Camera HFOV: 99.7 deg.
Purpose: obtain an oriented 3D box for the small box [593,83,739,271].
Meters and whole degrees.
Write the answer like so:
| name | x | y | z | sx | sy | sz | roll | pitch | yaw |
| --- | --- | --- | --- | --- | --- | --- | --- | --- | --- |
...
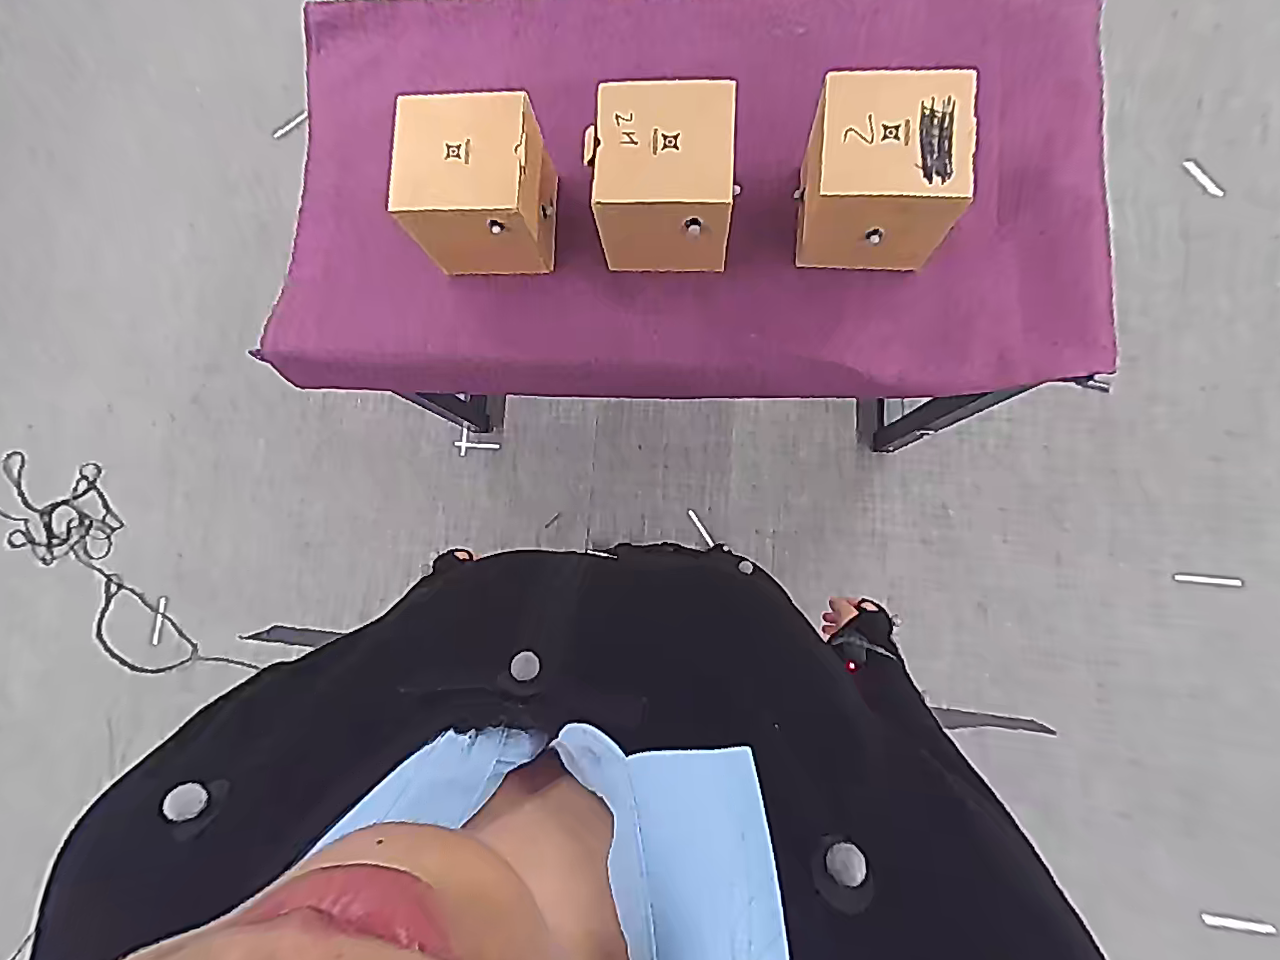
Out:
| name | x | y | z | sx | sy | sz | roll | pitch | yaw |
| --- | --- | --- | --- | --- | --- | --- | --- | --- | --- |
| small box | 0.039 | -0.406 | 0.749 | 0.179 | 0.176 | 0.168 | 2 | 83 | 6 |

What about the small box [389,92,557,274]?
| name | x | y | z | sx | sy | sz | roll | pitch | yaw |
| --- | --- | --- | --- | --- | --- | --- | --- | --- | --- |
| small box | -0.227 | -0.411 | 0.774 | 0.179 | 0.176 | 0.168 | 1 | 83 | 4 |
